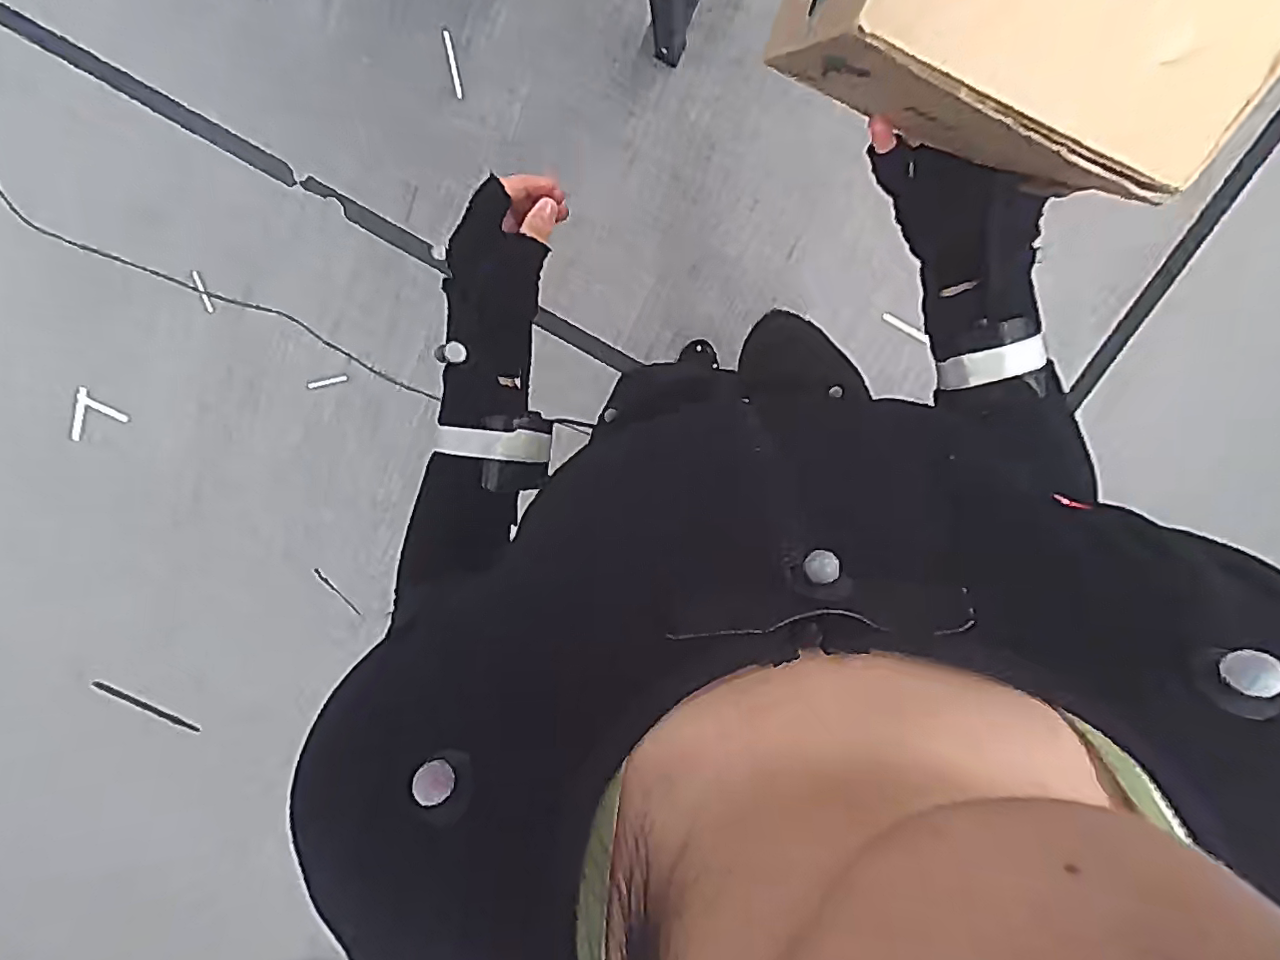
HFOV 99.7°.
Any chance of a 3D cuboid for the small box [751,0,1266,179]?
[{"bbox_3d":[0.180,-0.268,0.252,0.179,0.168,0.176,14,122,-12],"label":"small box"}]
